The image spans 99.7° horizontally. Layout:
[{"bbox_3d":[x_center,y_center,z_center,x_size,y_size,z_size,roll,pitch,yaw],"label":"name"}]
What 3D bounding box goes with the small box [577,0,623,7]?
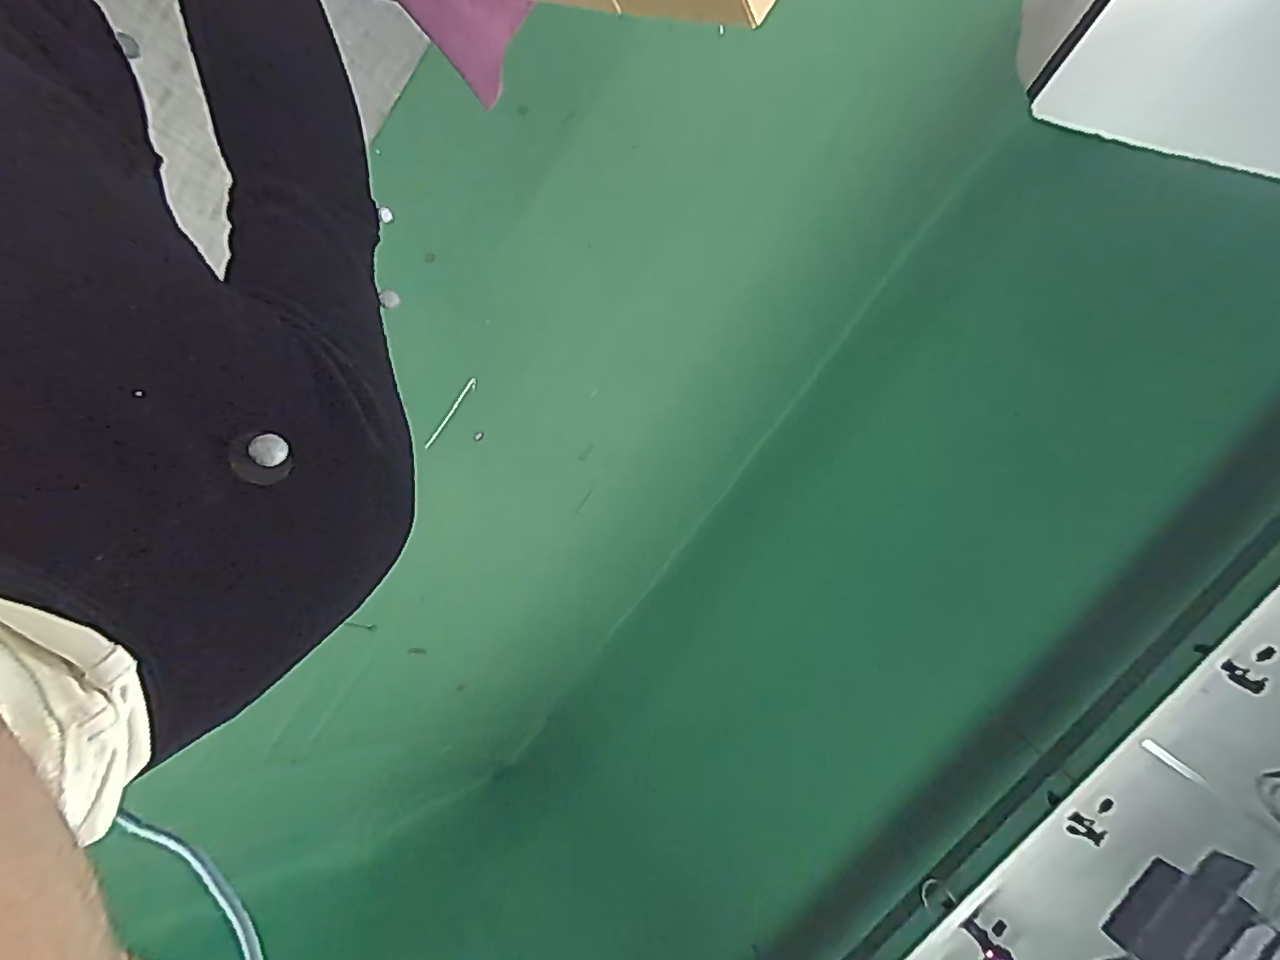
[{"bbox_3d":[-0.060,-0.589,0.488,0.179,0.176,0.168,-52,148,5],"label":"small box"}]
